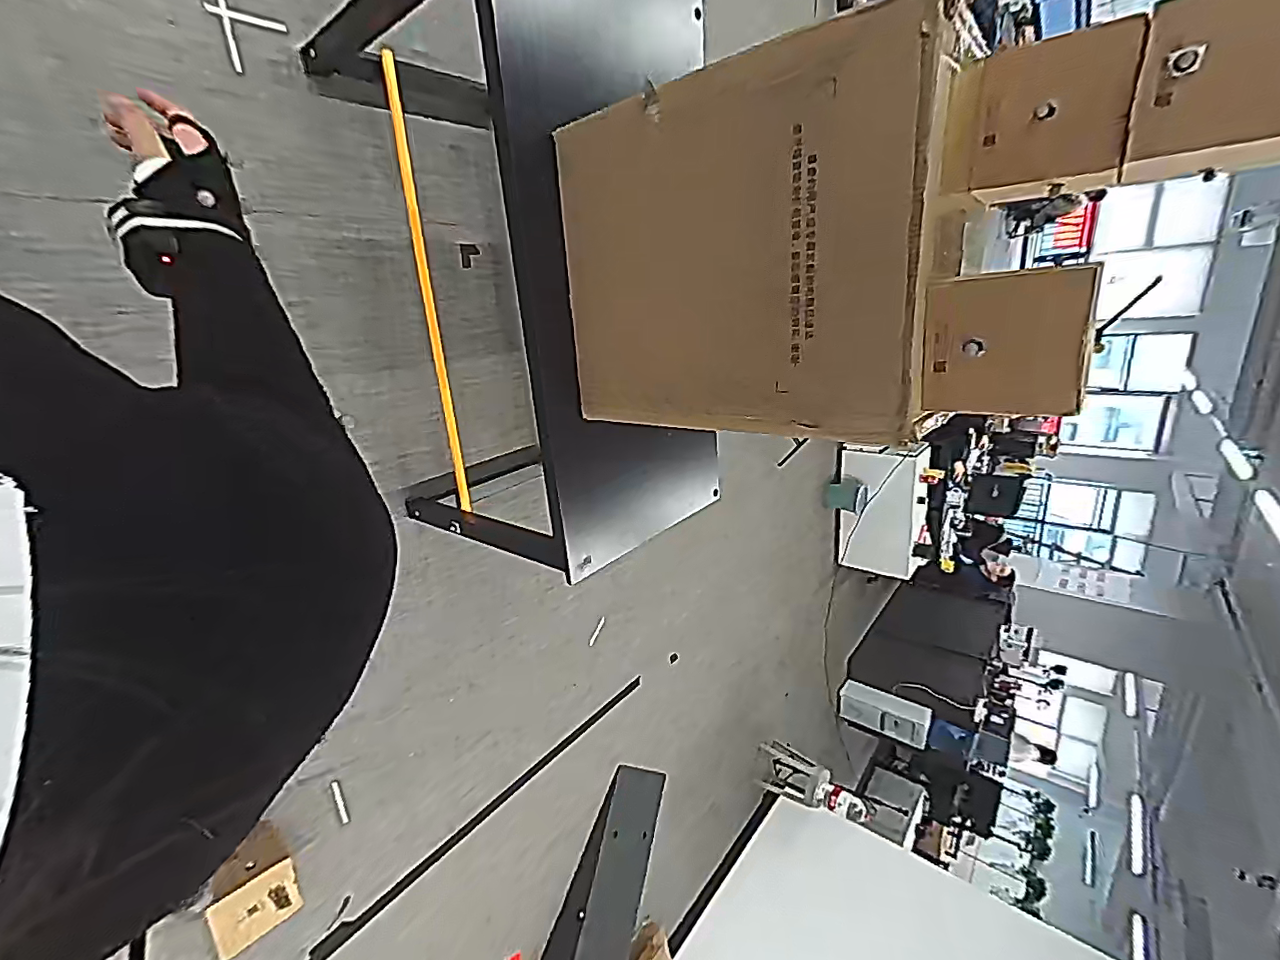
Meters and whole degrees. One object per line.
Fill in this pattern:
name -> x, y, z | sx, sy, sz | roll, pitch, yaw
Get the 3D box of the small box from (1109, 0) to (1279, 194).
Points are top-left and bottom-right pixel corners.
small box -> 0.691, -0.459, 0.655 | 0.179, 0.176, 0.168 | -21, 114, -47

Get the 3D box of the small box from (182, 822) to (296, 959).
small box -> -0.994, 1.005, 1.341 | 0.179, 0.176, 0.168 | -18, 112, -47

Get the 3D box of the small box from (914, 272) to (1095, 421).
small box -> 0.485, -0.182, 0.724 | 0.179, 0.176, 0.168 | -26, 116, -44

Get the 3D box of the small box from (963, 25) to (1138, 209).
small box -> 0.573, -0.490, 0.765 | 0.179, 0.176, 0.168 | -23, 117, -47
